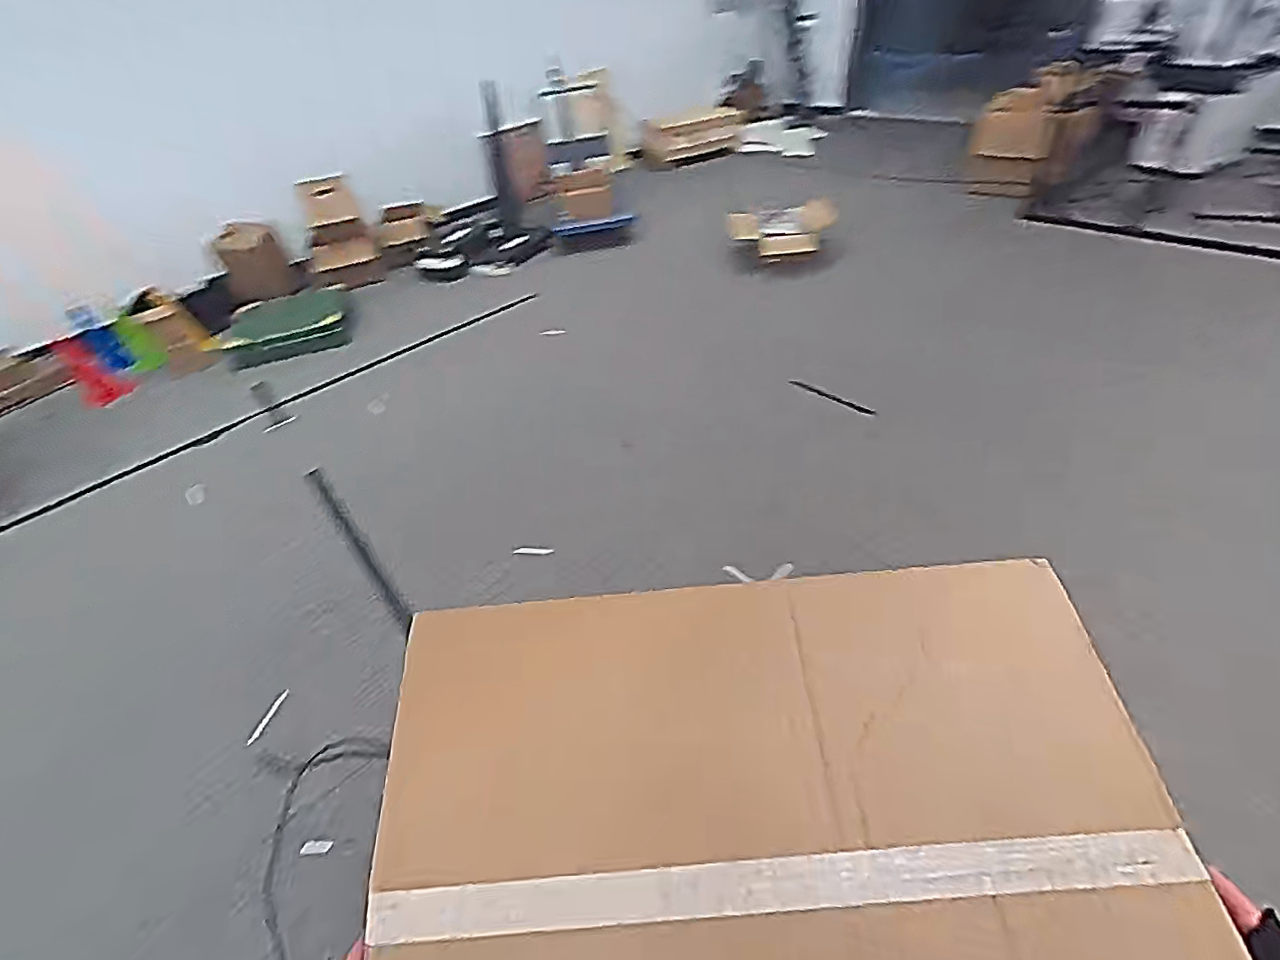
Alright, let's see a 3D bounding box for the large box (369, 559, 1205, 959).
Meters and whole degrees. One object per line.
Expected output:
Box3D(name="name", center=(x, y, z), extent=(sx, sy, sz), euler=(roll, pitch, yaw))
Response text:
Box3D(name="large box", center=(0.068, 0.283, 0.404), extent=(0.408, 0.320, 0.320), euler=(-7, 59, 1))
